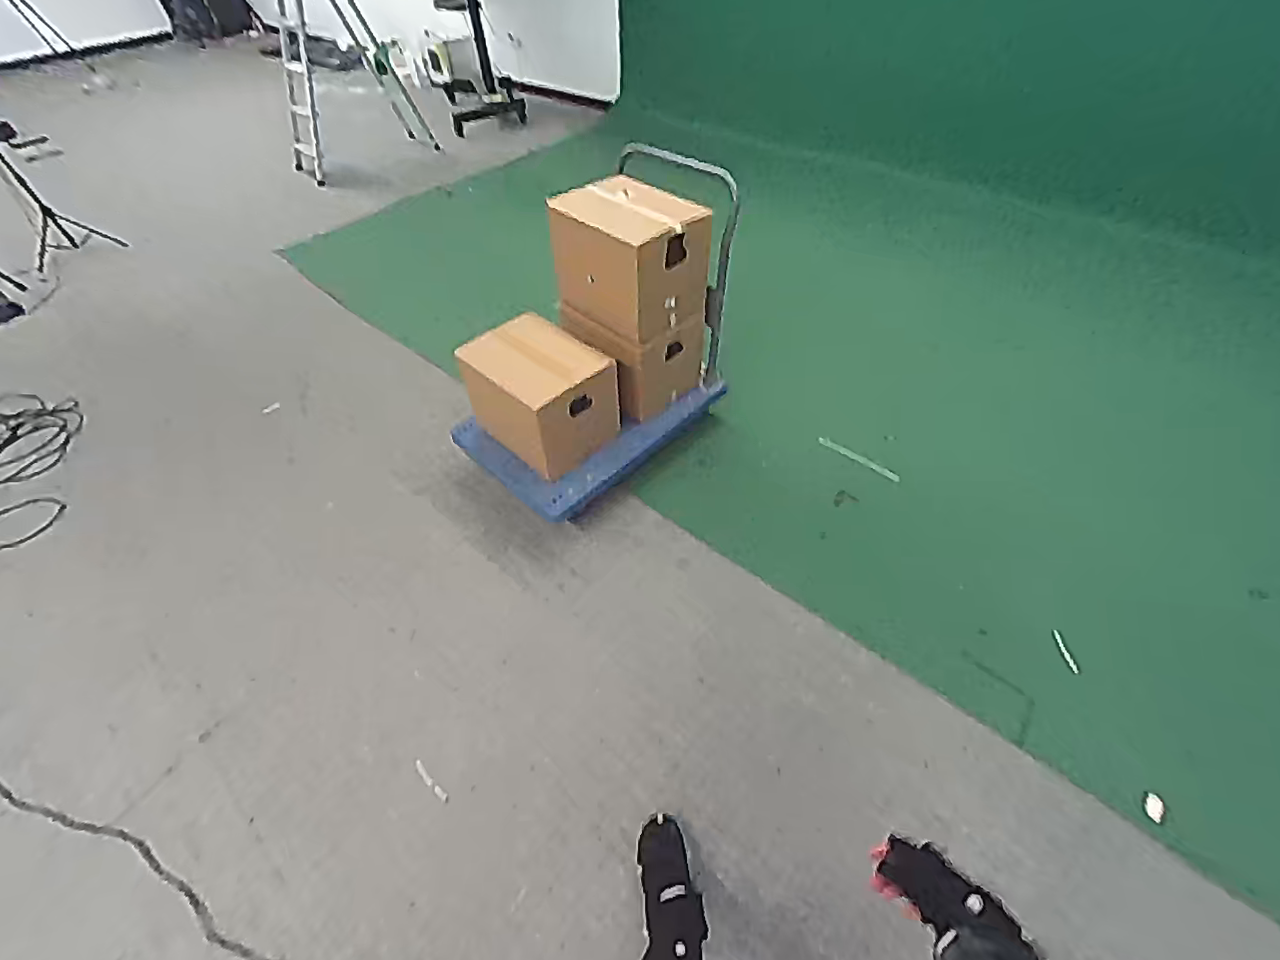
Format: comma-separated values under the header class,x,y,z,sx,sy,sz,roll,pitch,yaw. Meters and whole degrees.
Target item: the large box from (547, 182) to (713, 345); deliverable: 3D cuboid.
class,x,y,z,sx,sy,sz,roll,pitch,yaw
large box,-0.027,-0.679,1.687,0.320,0.320,0.408,-35,55,-27
